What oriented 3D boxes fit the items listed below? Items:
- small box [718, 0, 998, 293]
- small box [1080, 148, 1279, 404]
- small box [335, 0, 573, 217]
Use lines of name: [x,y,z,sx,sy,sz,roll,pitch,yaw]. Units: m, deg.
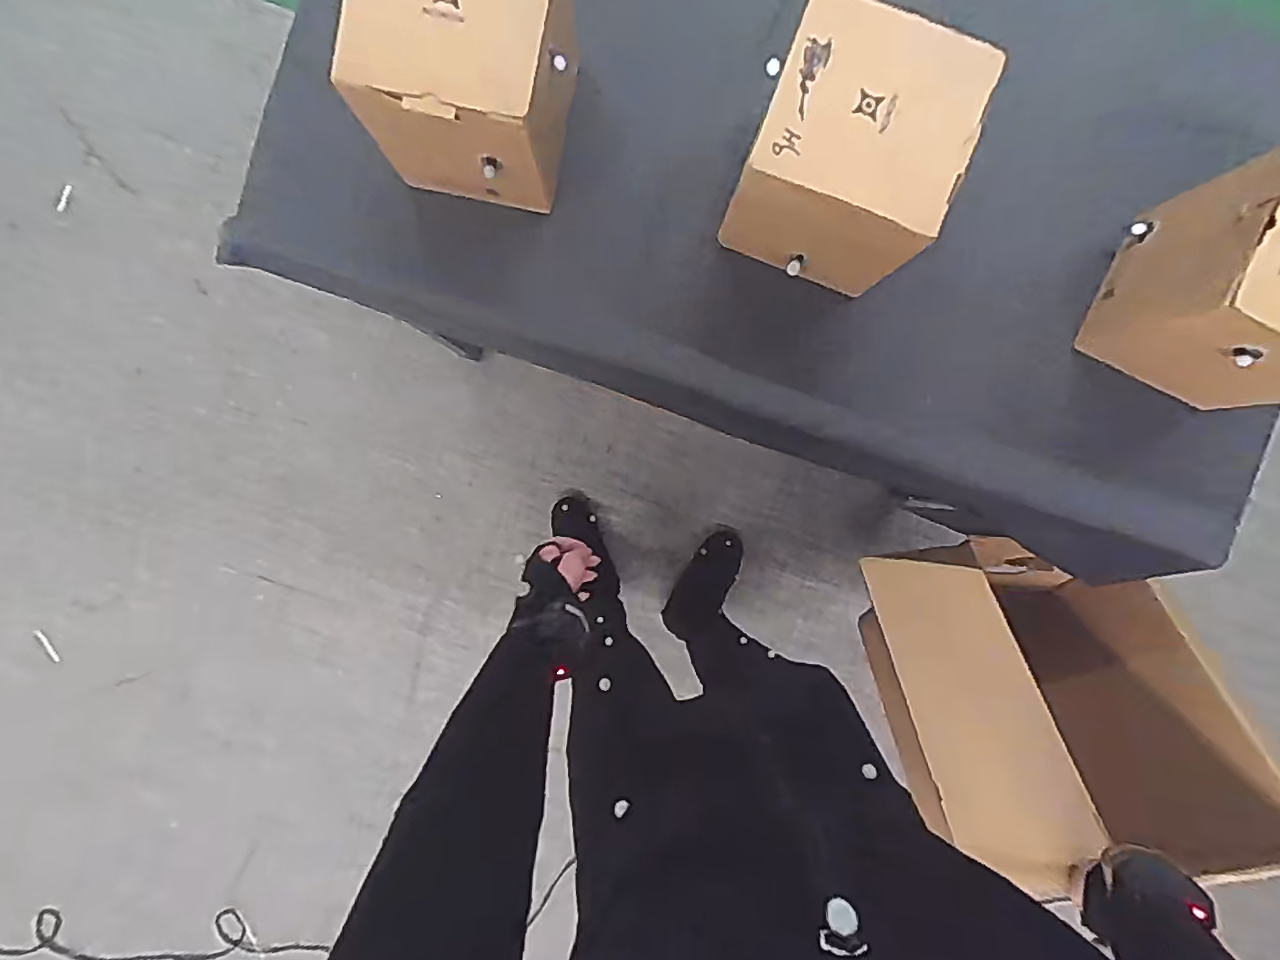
small box: [0.196,-0.308,0.540,0.179,0.176,0.168,21,91,-2]
small box: [0.610,-0.187,0.546,0.179,0.176,0.168,25,92,-2]
small box: [-0.164,-0.392,0.535,0.168,0.176,0.179,10,89,-3]
